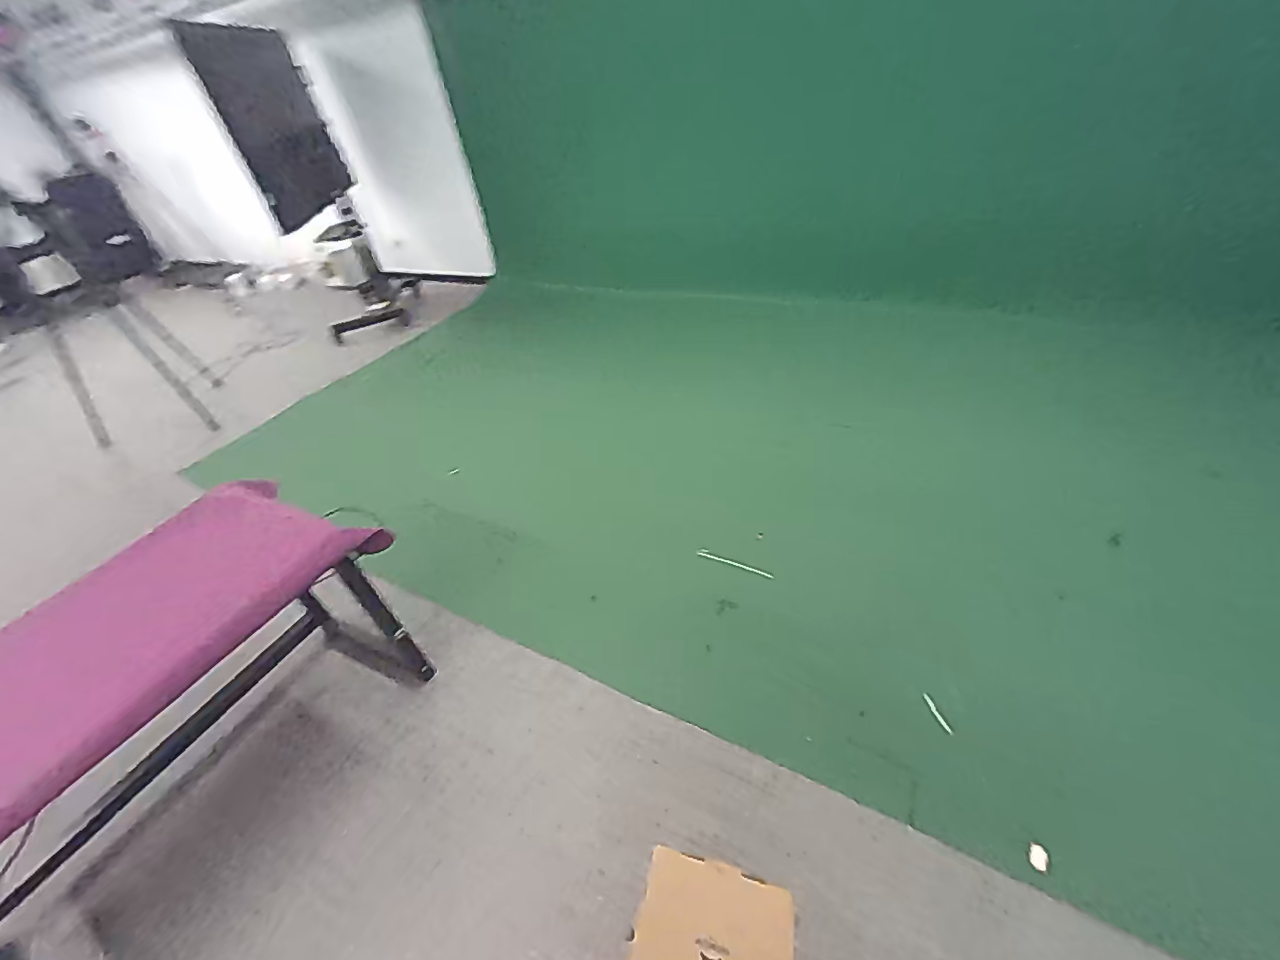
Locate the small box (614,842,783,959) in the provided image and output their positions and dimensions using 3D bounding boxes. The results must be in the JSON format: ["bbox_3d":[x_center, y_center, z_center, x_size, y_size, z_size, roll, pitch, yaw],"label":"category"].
[{"bbox_3d":[0.052,0.551,0.593,0.168,0.176,0.179,13,34,8],"label":"small box"}]
